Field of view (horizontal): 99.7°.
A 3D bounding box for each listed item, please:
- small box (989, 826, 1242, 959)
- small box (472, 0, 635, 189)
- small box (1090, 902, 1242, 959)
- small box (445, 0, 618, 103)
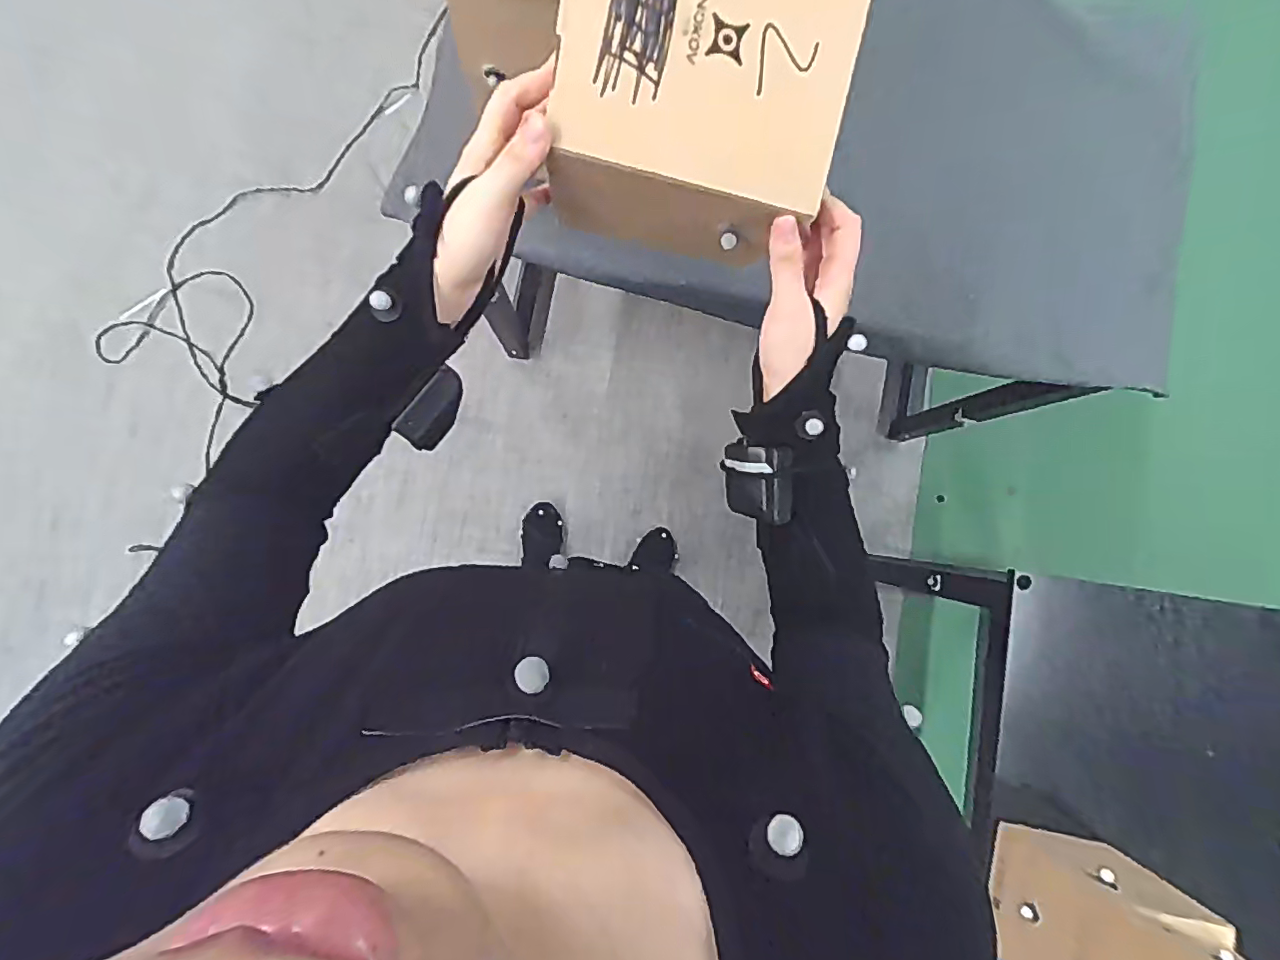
[{"bbox_3d":[0.599,0.589,0.704,0.179,0.176,0.168,13,86,-3],"label":"small box"},{"bbox_3d":[-0.108,-0.529,0.734,0.179,0.176,0.168,9,84,-2],"label":"small box"},{"bbox_3d":[0.585,0.588,0.540,0.168,0.176,0.179,21,85,-2],"label":"small box"},{"bbox_3d":[-0.107,-0.543,0.570,0.168,0.176,0.179,5,84,-4],"label":"small box"}]
